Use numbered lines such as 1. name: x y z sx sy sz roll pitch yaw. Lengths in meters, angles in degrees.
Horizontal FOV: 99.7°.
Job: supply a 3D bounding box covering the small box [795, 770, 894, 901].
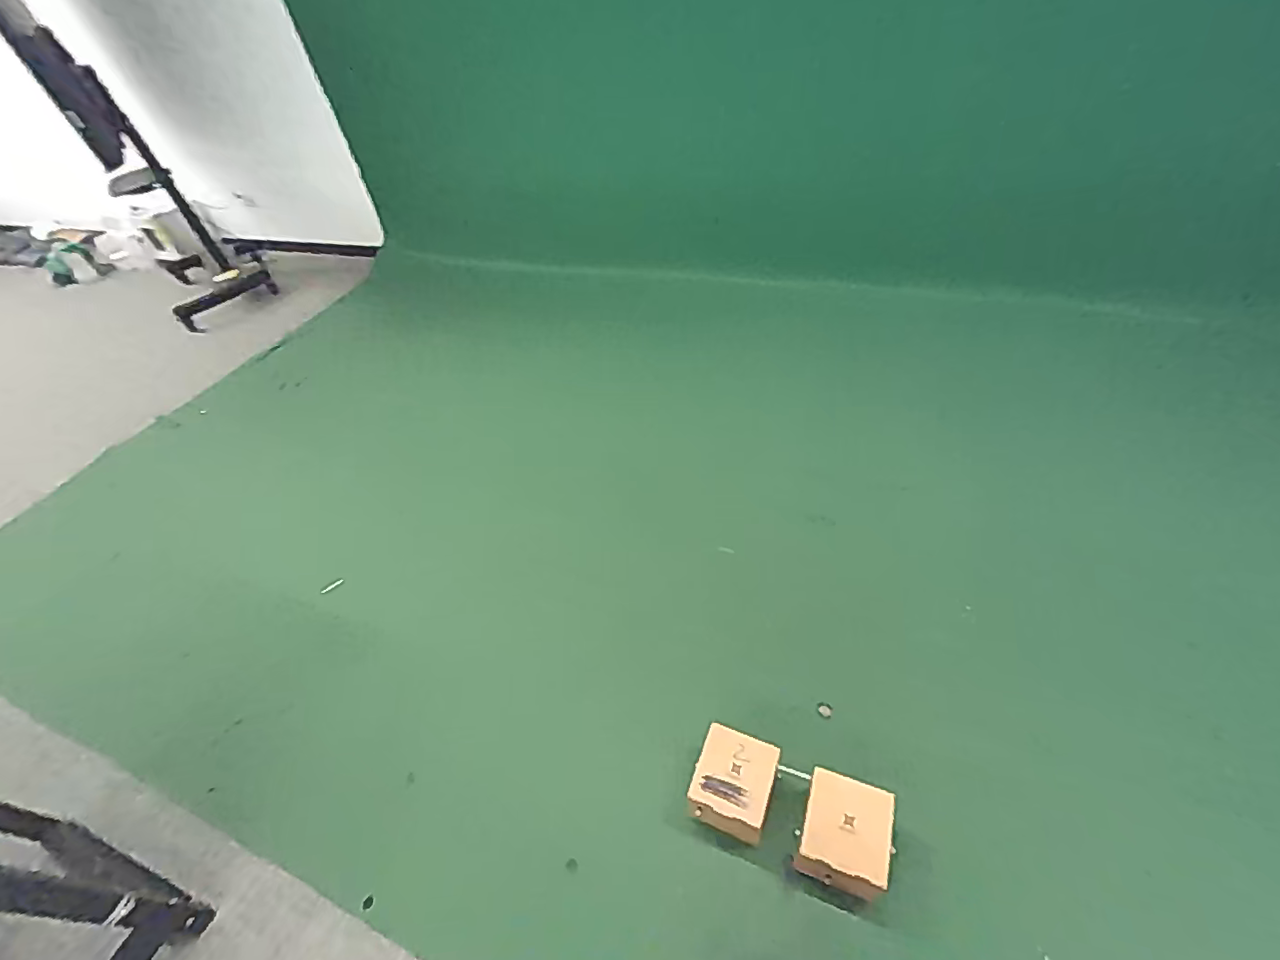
1. small box: 0.438 0.771 1.172 0.168 0.176 0.179 12 50 20
